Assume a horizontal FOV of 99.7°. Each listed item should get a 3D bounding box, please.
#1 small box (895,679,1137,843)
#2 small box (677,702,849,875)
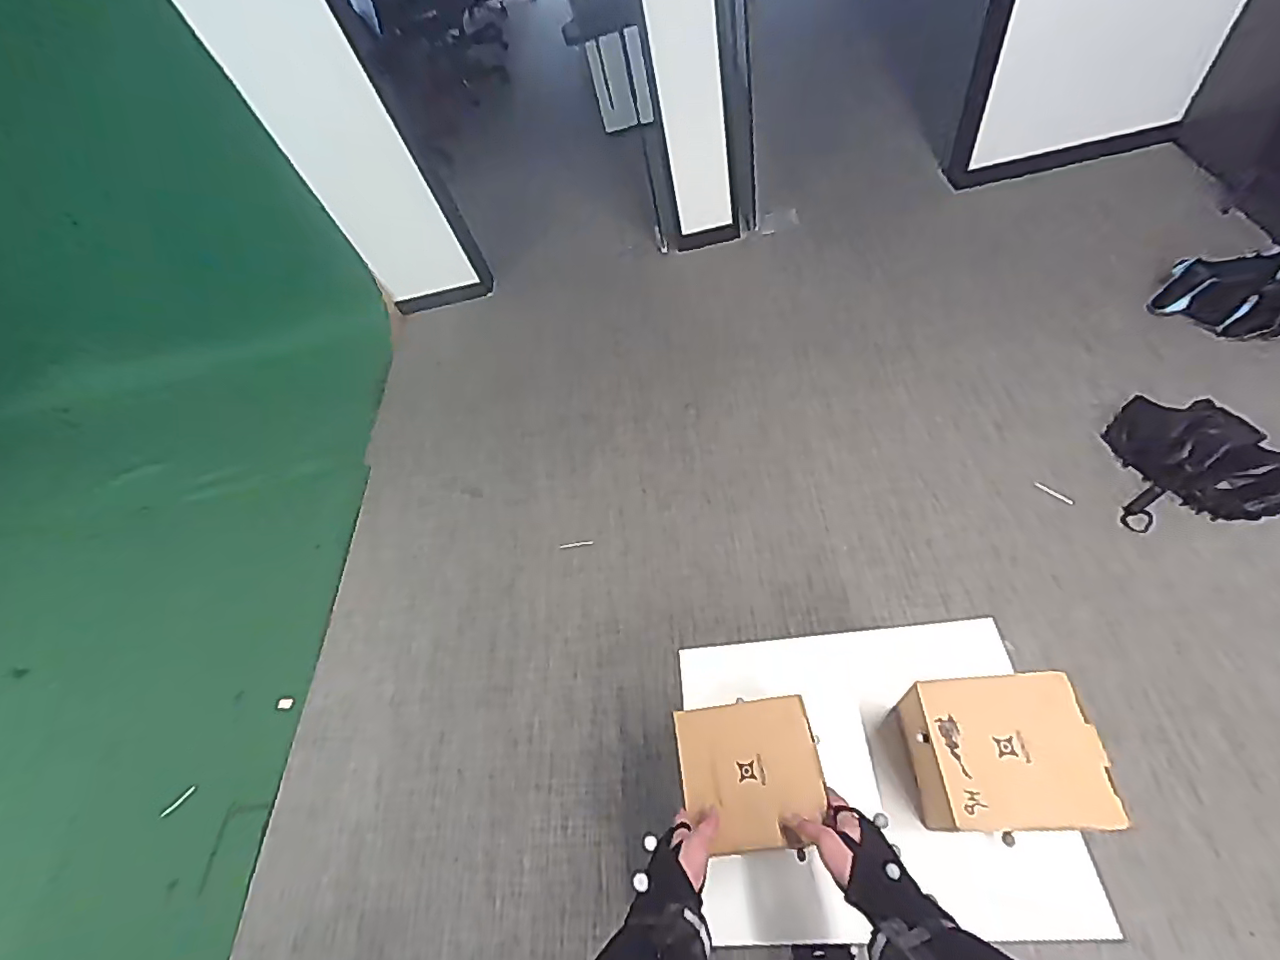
[{"bbox_3d":[0.454,0.362,0.691,0.179,0.176,0.168,-7,55,7],"label":"small box"},{"bbox_3d":[0.153,0.412,0.717,0.179,0.176,0.168,-12,52,4],"label":"small box"}]
